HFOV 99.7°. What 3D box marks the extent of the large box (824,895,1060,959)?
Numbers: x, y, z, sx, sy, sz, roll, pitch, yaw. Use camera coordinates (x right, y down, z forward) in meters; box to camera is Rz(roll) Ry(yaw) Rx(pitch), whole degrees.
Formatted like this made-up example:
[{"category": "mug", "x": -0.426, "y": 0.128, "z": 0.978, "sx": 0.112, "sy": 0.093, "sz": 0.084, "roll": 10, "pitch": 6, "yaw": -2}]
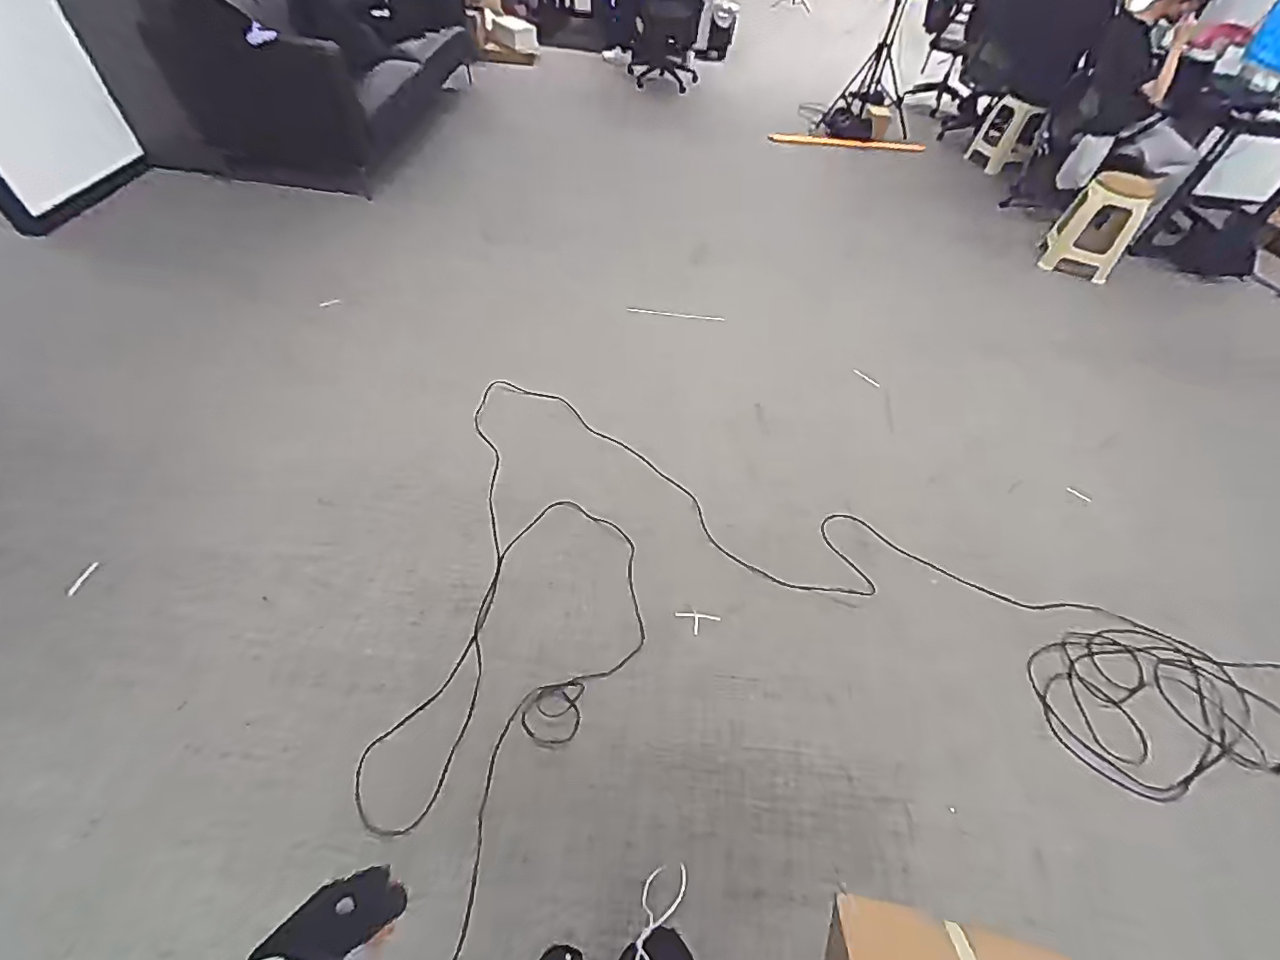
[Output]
[{"category": "large box", "x": 0.379, "y": 0.793, "z": 0.591, "sx": 0.320, "sy": 0.408, "sz": 0.320, "roll": 11, "pitch": 94, "yaw": 10}]
